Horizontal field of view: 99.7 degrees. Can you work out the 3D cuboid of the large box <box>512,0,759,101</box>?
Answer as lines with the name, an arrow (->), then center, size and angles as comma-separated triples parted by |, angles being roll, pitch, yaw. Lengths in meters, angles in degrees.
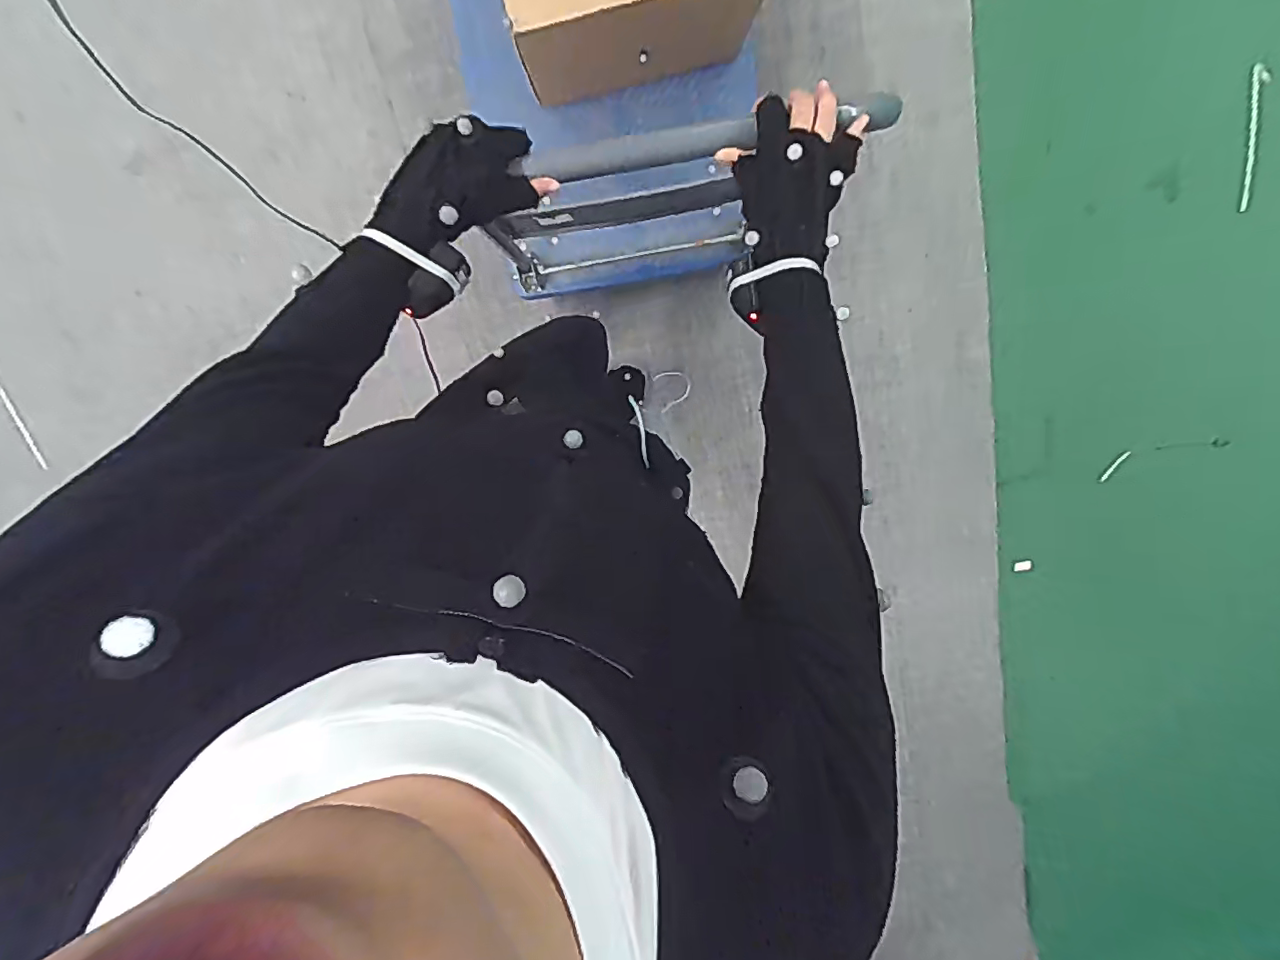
large box -> -0.024, -0.907, 0.902 | 0.408, 0.320, 0.320 | -14, 107, 4
